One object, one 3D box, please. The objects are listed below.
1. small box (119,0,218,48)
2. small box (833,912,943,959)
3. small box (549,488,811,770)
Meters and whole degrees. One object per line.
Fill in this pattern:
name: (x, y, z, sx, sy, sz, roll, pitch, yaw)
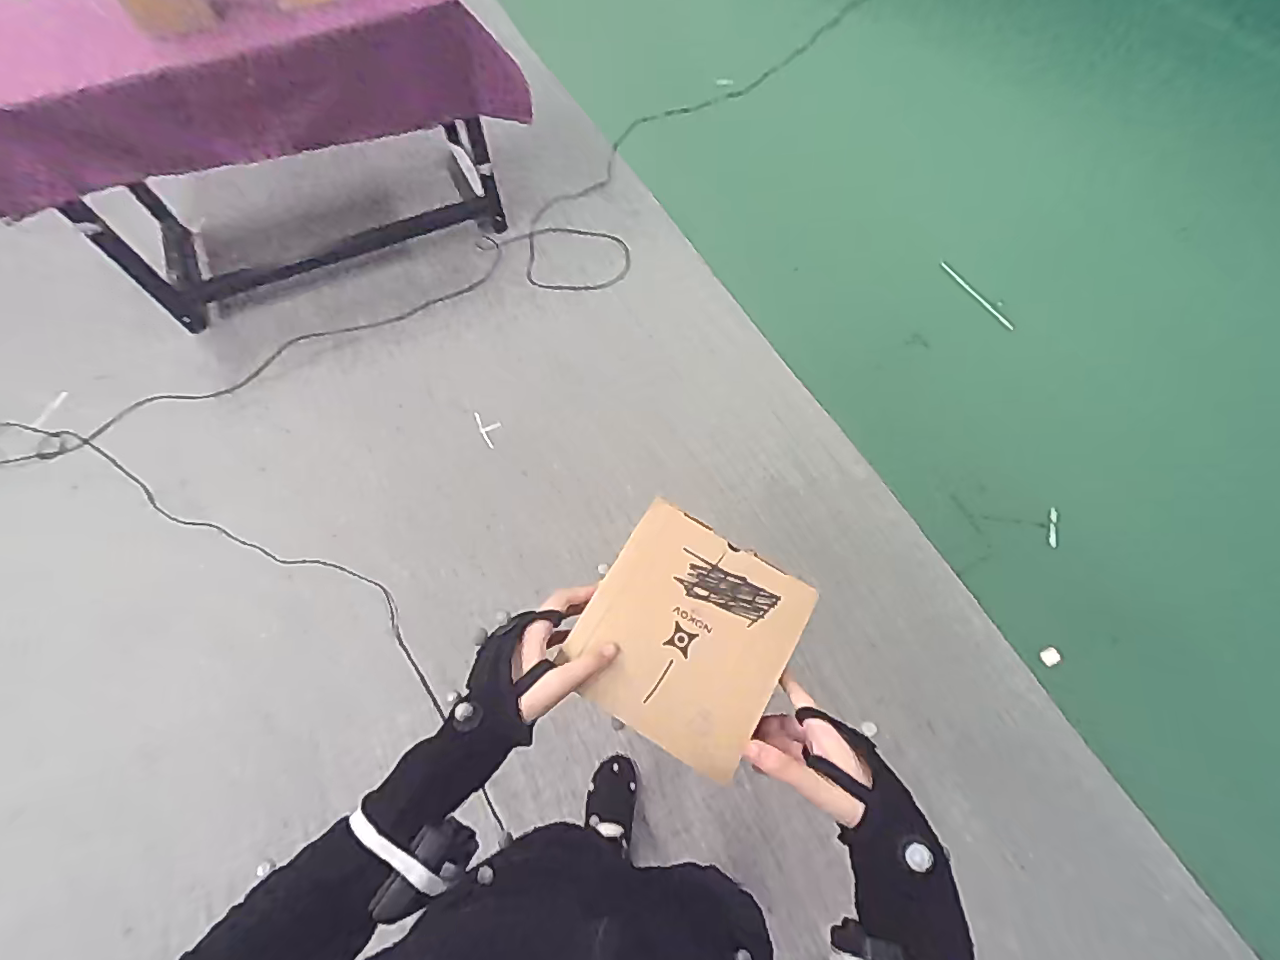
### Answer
small box: (-1.206, -1.238, 1.362, 0.179, 0.176, 0.168, -23, 64, -11)
small box: (0.495, 0.978, 1.034, 0.179, 0.176, 0.168, -25, 65, -13)
small box: (0.032, 0.140, 0.526, 0.168, 0.176, 0.179, 30, 73, 7)
